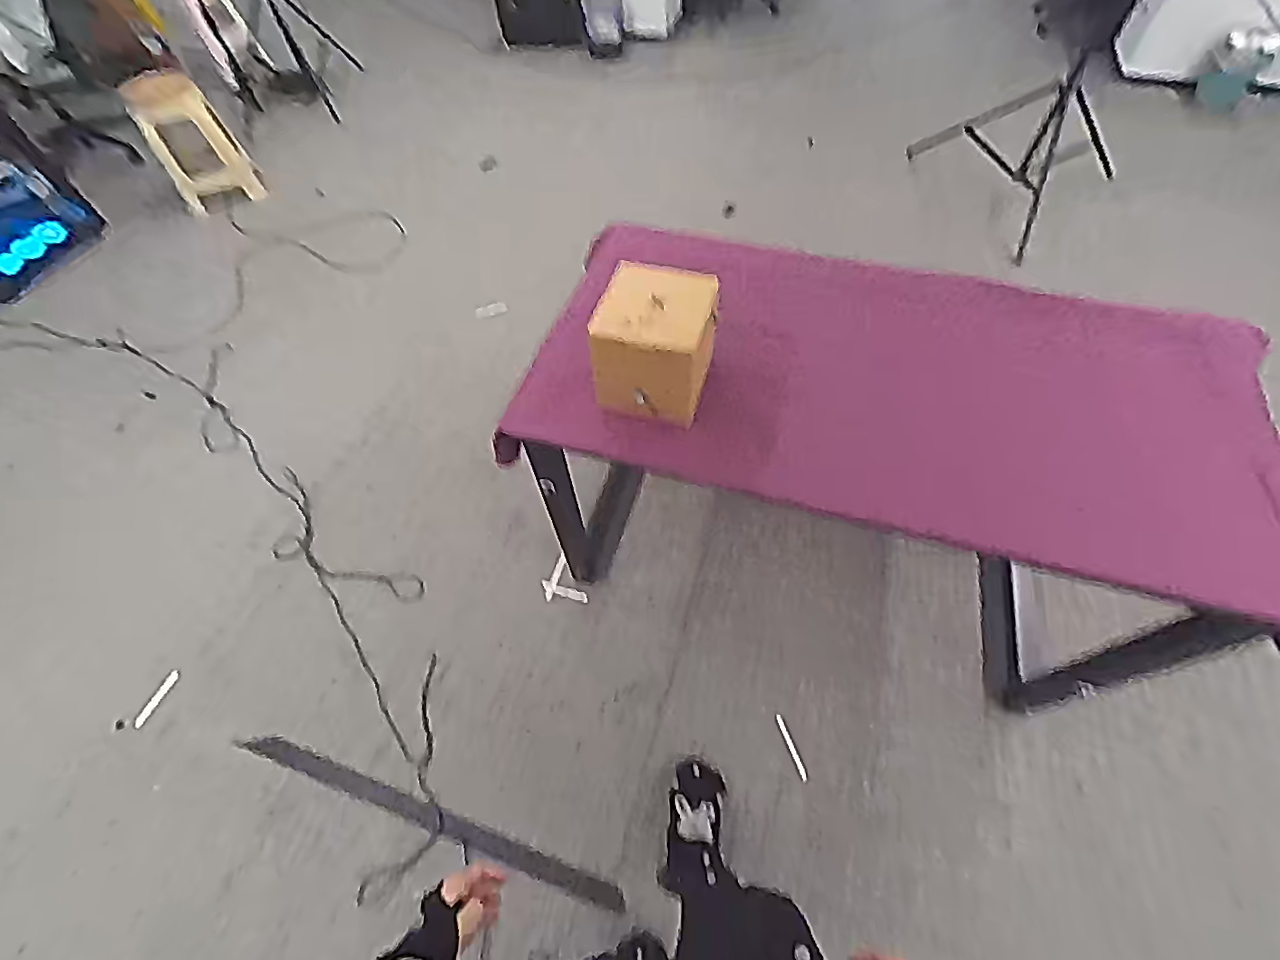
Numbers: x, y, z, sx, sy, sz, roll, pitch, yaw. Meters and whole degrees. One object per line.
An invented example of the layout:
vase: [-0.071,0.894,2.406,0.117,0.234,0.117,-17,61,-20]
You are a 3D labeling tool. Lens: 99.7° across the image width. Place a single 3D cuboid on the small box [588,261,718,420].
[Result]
small box: [0.025,-0.229,0.895,0.168,0.176,0.179,13,58,11]
